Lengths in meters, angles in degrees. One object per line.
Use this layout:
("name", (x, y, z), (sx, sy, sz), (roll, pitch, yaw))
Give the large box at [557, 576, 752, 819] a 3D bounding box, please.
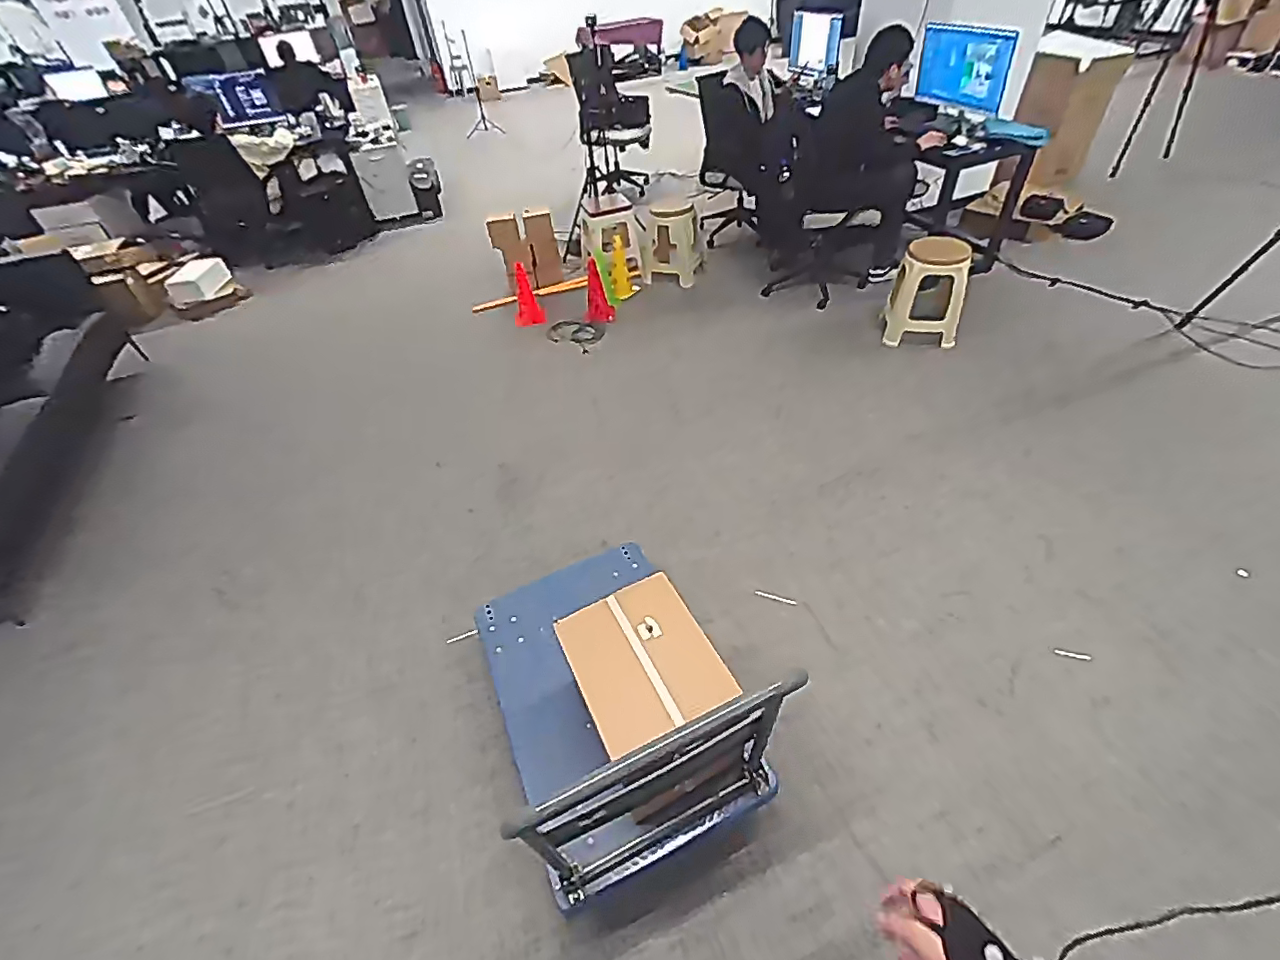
("large box", (0.034, 0.528, 1.344), (0.320, 0.320, 0.408), (-22, 46, -16))
